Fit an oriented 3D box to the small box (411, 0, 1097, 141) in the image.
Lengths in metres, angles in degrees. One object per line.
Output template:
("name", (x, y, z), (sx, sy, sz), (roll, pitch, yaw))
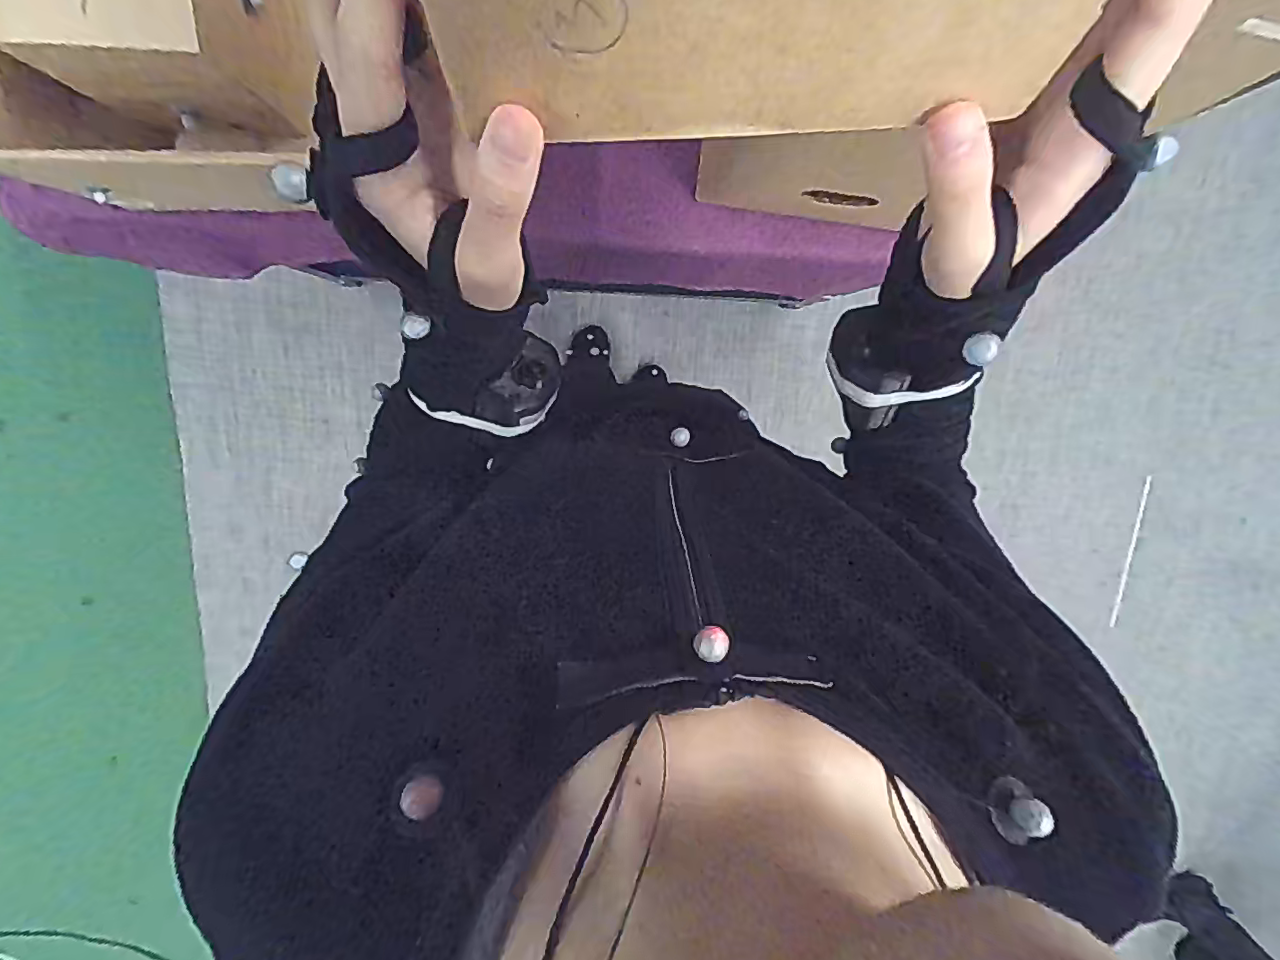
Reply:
("small box", (0.028, -0.208, 0.112), (0.179, 0.168, 0.176), (-4, 76, -4))
